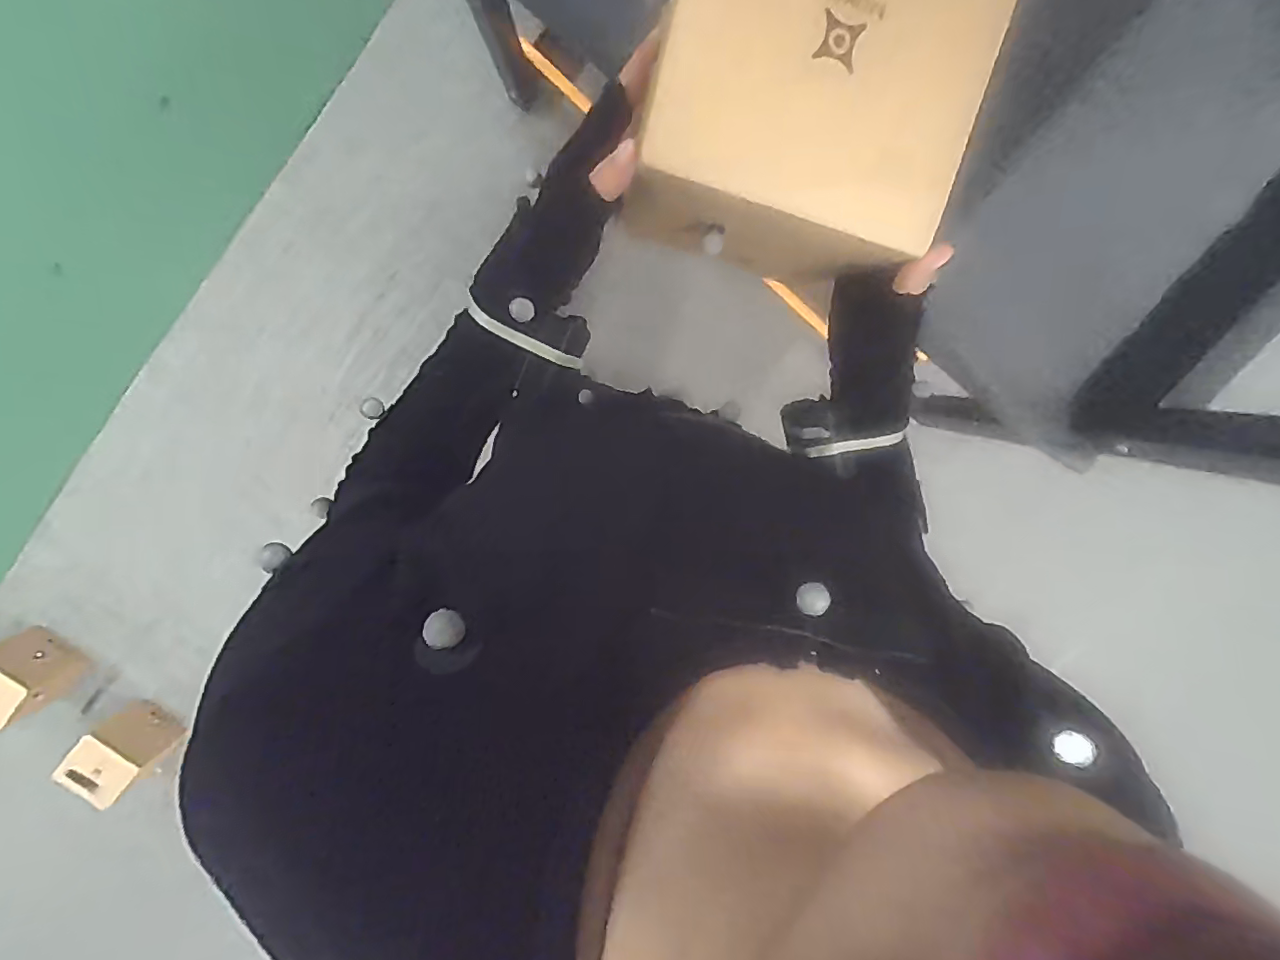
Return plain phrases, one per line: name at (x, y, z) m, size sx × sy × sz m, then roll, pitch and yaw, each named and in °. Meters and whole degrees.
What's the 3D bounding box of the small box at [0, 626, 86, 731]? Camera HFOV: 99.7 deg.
small box at (-1.673, 0.527, 1.455) m, size 0.168 × 0.176 × 0.179 m, roll 40°, pitch 97°, yaw -8°
